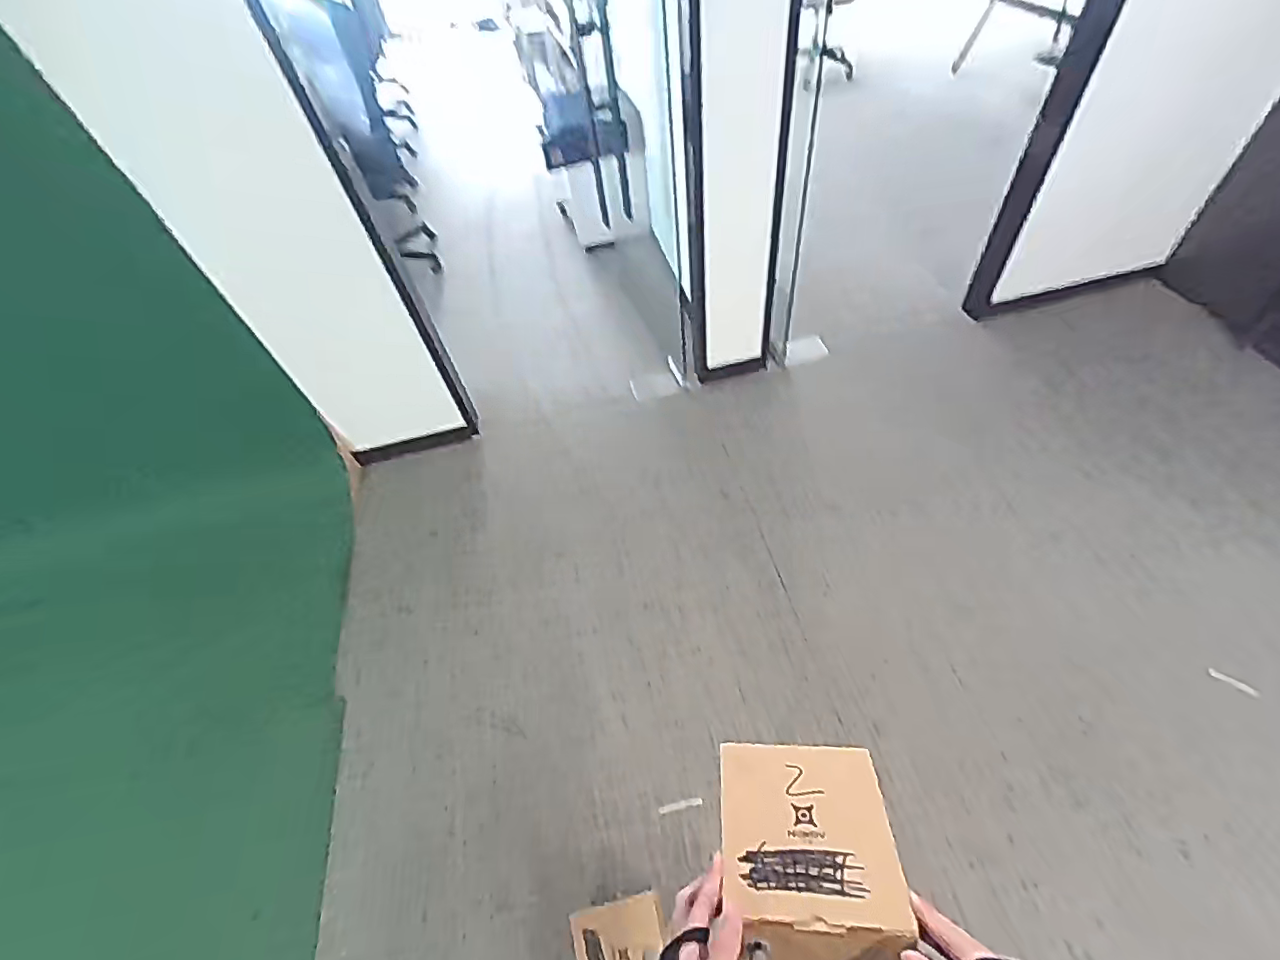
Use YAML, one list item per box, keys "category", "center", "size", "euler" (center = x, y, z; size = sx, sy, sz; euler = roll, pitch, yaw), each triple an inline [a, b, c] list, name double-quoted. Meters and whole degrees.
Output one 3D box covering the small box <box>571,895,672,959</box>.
- category: "small box"
  center: [-0.029, 0.967, 1.094]
  size: [0.179, 0.176, 0.168]
  euler: [-13, 51, -4]
